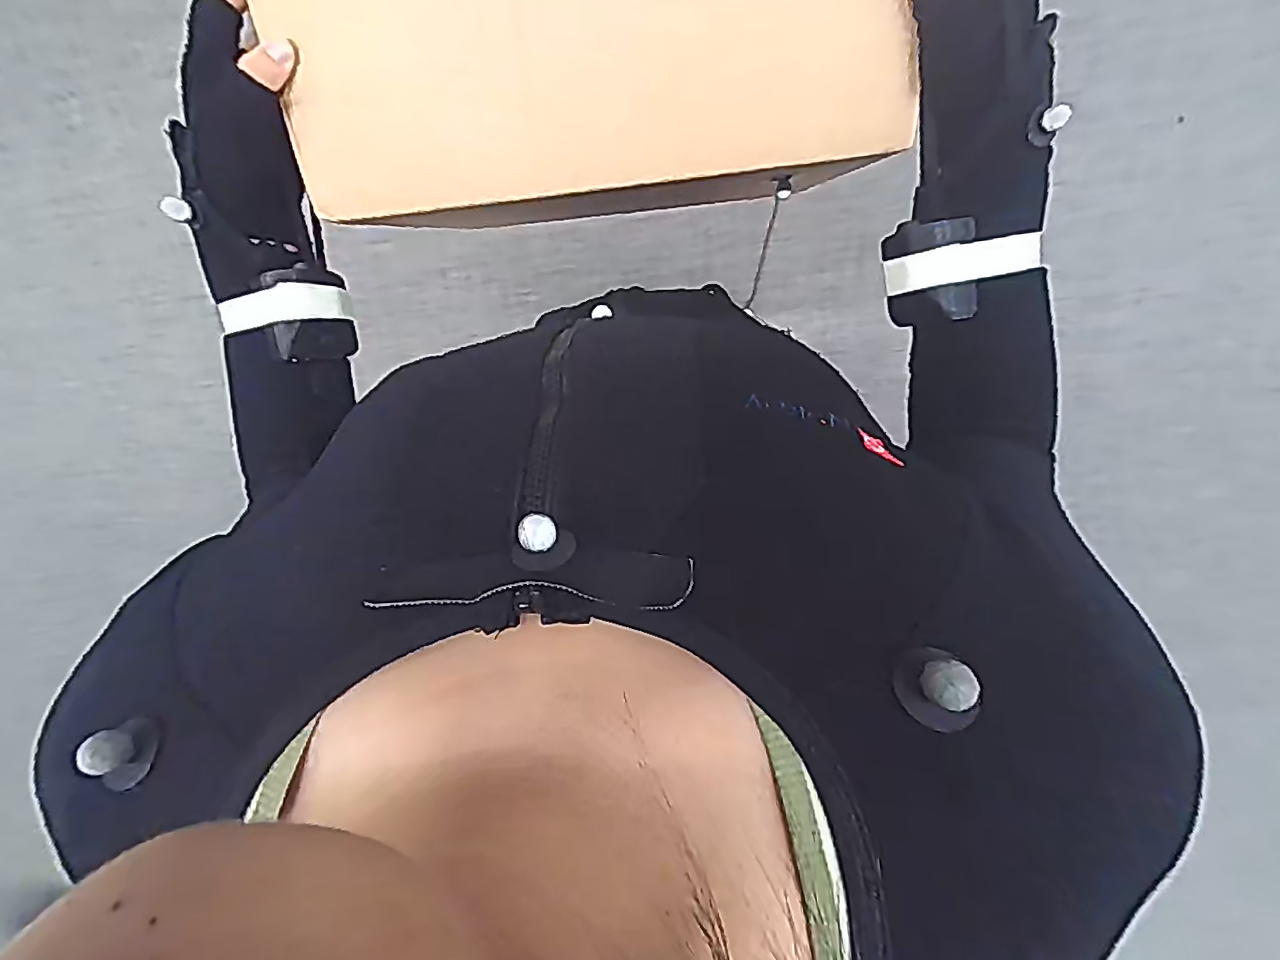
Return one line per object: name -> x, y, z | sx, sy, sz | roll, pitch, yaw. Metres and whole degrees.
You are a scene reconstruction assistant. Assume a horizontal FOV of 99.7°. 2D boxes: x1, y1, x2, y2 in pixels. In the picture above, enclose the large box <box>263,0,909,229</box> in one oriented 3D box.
large box -> -0.034, -0.400, 0.450 | 0.408, 0.320, 0.320 | -4, 113, 5
